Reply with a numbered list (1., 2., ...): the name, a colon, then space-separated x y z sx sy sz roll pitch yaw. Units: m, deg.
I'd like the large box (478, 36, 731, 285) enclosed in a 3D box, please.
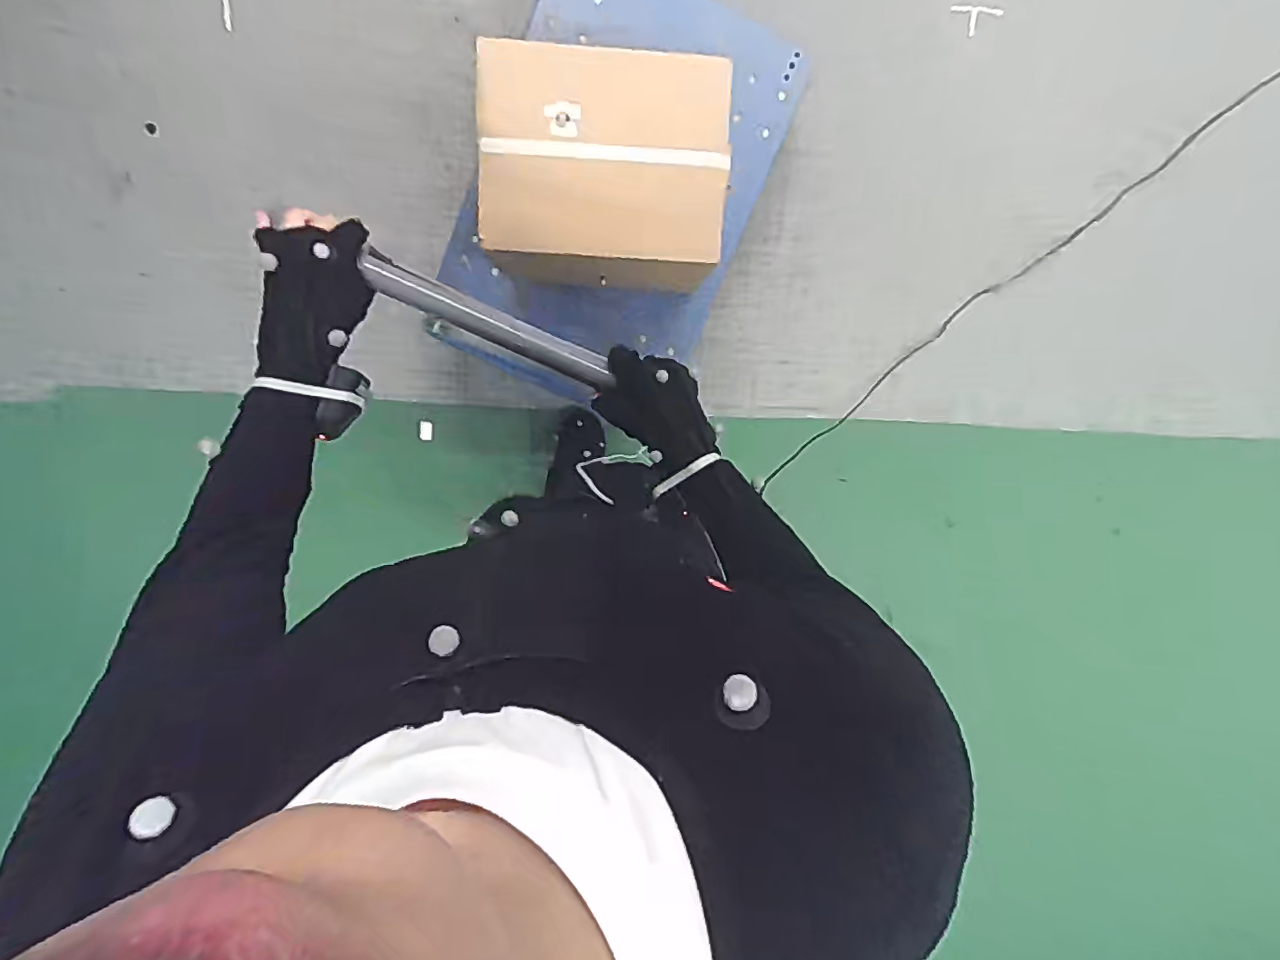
1. large box: -0.064 -0.558 1.020 0.408 0.320 0.320 4 100 -3
